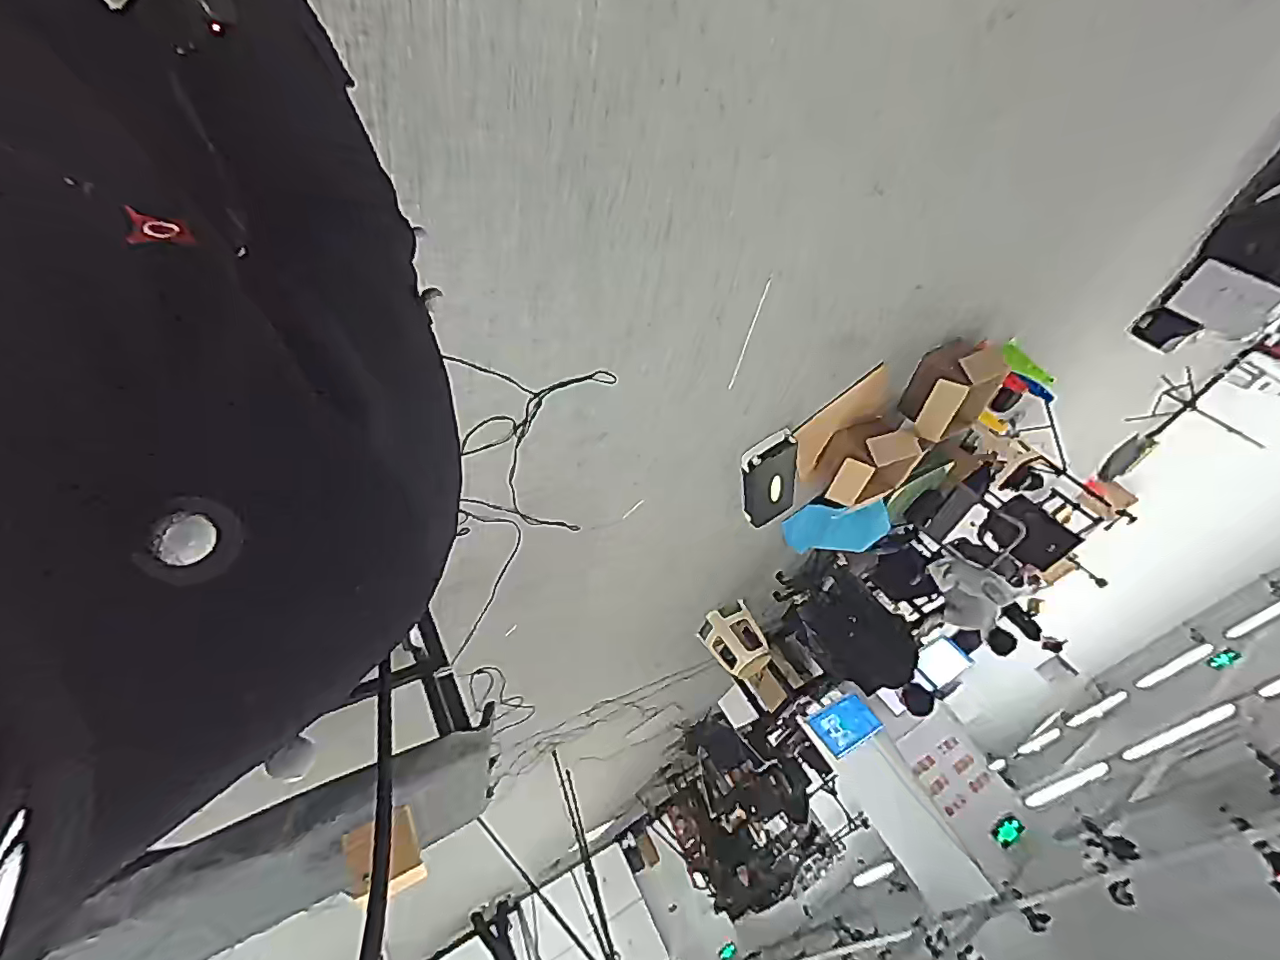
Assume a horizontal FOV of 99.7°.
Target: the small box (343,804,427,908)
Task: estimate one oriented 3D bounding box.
[{"bbox_3d":[-0.716,1.052,1.521,0.179,0.176,0.168,-14,141,-29],"label":"small box"}]
